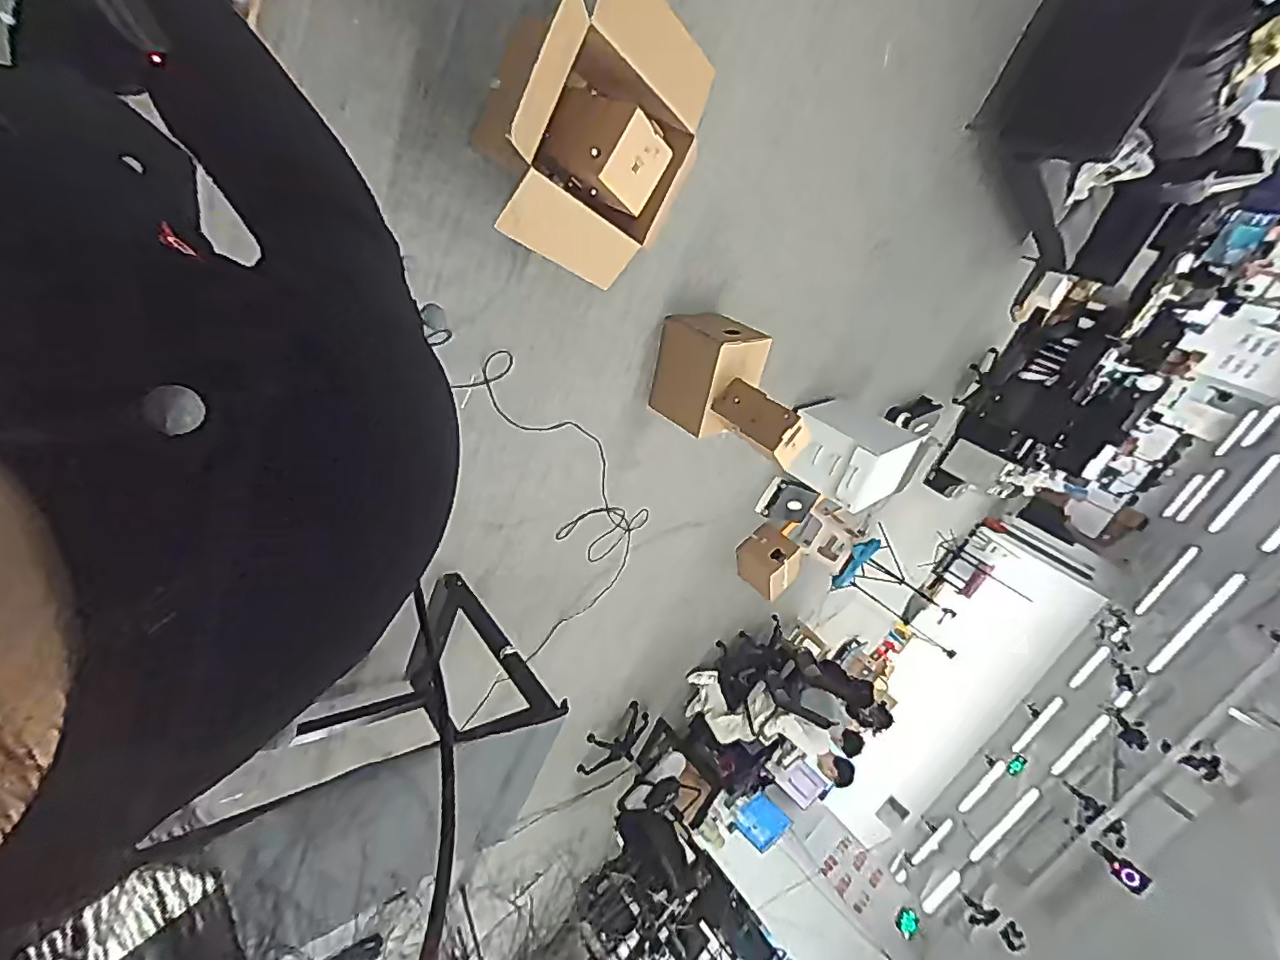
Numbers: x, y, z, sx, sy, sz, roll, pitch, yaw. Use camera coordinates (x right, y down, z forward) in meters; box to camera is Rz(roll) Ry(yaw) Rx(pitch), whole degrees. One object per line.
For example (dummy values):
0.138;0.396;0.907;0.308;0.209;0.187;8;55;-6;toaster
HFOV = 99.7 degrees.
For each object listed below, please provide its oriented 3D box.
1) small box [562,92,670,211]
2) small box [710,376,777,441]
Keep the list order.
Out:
-0.066;-0.809;1.333;0.168;0.176;0.179;15;109;-57;small box
0.407;-0.288;2.135;0.168;0.176;0.179;-51;143;1;small box
